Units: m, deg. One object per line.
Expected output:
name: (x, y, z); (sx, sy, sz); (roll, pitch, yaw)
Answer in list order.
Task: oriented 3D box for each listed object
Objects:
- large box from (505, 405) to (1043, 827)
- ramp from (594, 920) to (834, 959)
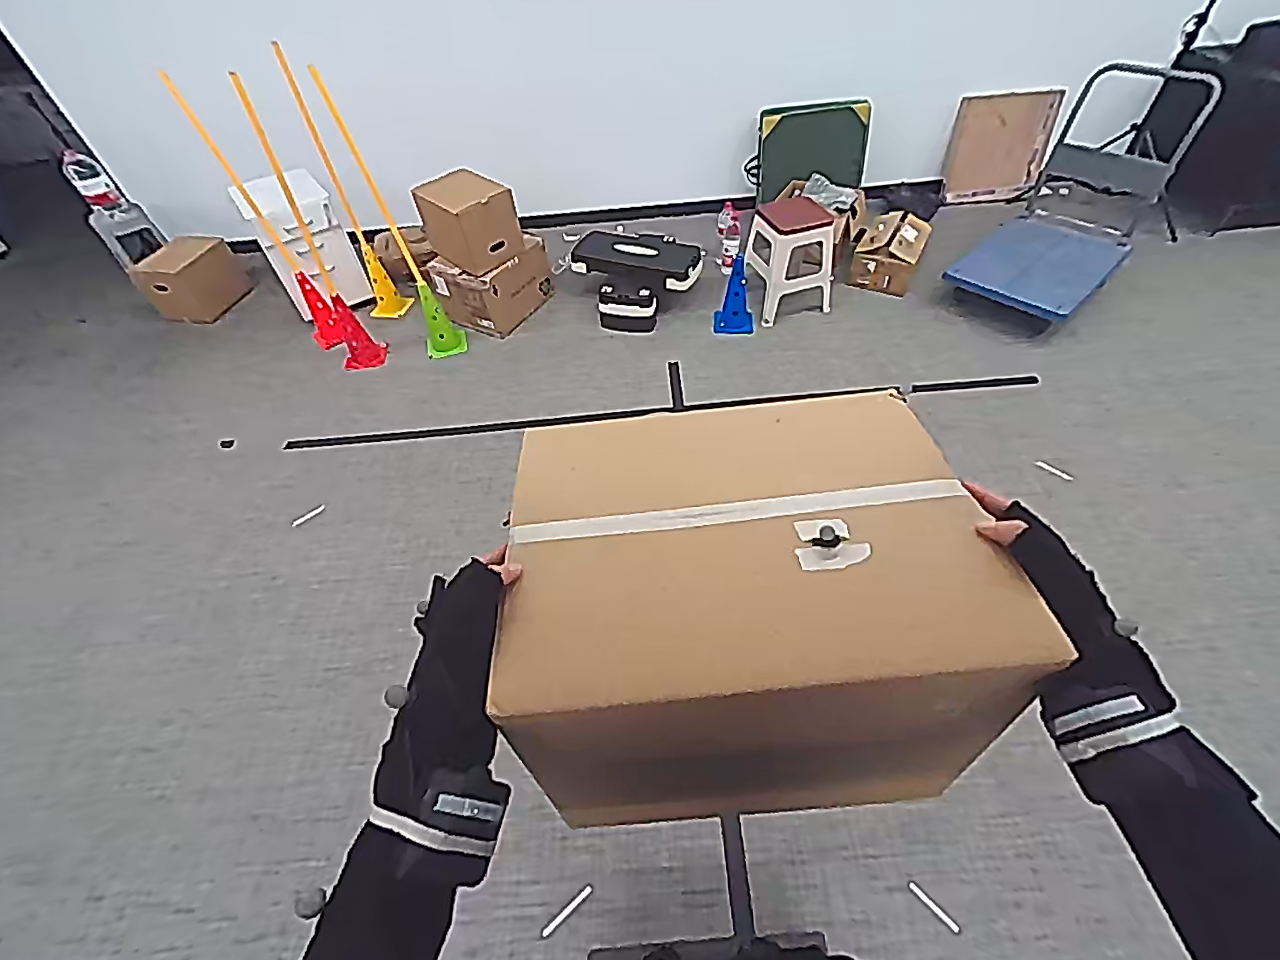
large box: (0.098, 0.149, 0.598); (0.408, 0.320, 0.320); (-6, 44, 1)
ramp: (0.186, 1.365, 0.879); (0.509, 0.206, 0.991); (-6, 50, -1)
